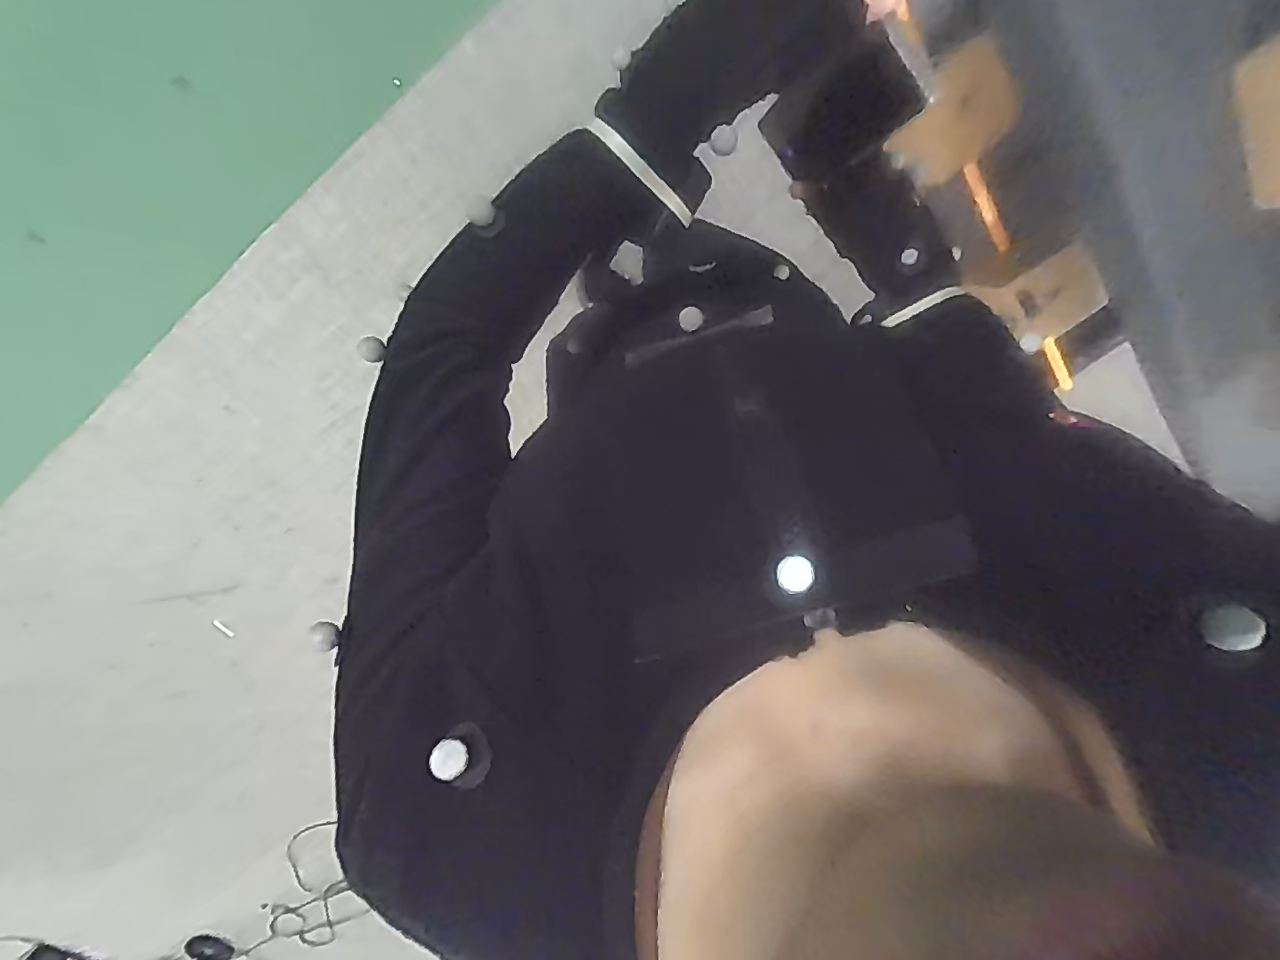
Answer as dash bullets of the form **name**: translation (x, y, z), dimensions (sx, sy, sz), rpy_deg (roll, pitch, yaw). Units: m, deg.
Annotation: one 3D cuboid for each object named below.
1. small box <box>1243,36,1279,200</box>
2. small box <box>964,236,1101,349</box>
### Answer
- **small box**: translation (0.772, -0.409, 0.537), dimensions (0.168, 0.176, 0.179), rpy_deg (-34, 112, 10)
- **small box**: translation (0.869, -0.422, 1.218), dimensions (0.179, 0.176, 0.168), rpy_deg (-34, 112, 10)
